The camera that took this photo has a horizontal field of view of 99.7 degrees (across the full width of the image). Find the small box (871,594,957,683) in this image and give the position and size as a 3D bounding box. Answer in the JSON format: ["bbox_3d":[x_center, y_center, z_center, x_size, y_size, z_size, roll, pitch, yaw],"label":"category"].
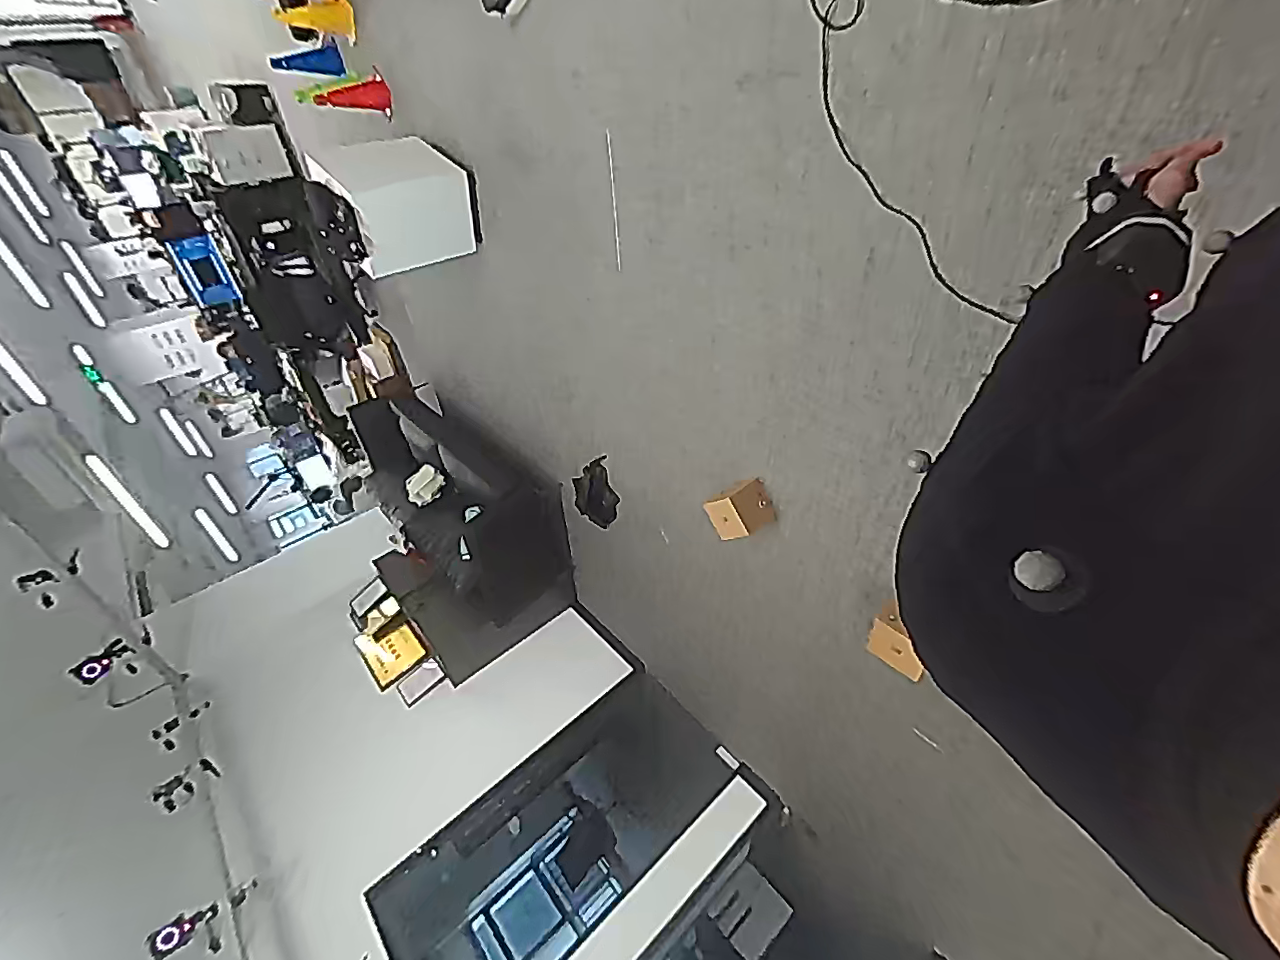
[{"bbox_3d":[0.869,0.494,1.714,0.179,0.176,0.168,33,141,40],"label":"small box"}]

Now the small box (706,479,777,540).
[{"bbox_3d":[0.396,0.116,2.098,0.168,0.176,0.179,60,150,-3],"label":"small box"}]
